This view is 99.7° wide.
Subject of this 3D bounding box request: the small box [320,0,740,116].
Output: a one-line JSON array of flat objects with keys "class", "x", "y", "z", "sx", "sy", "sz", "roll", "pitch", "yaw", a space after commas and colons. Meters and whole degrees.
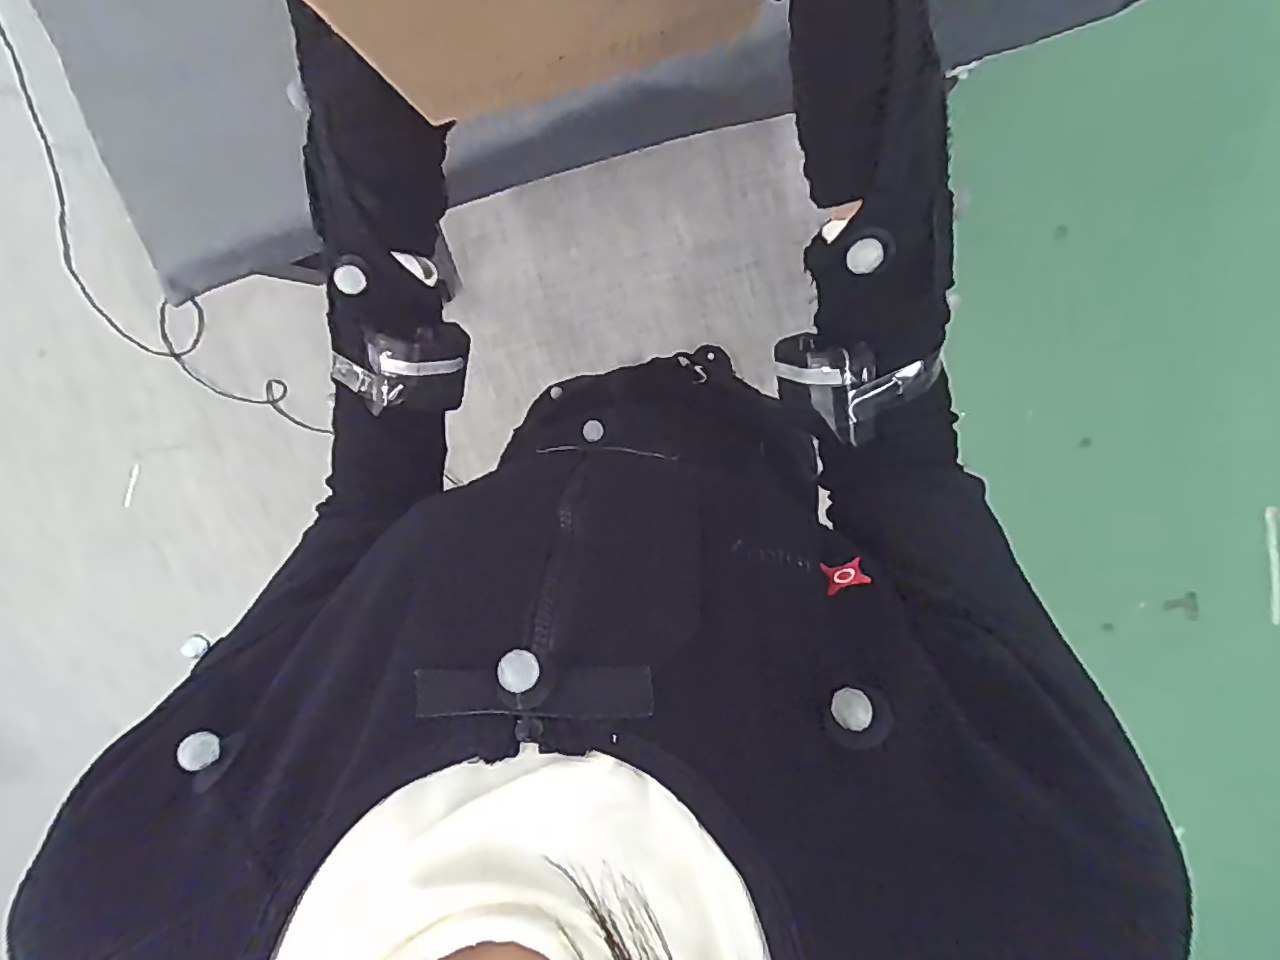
[{"class": "small box", "x": -0.045, "y": -0.266, "z": 0.187, "sx": 0.179, "sy": 0.176, "sz": 0.168, "roll": -13, "pitch": 103, "yaw": 5}]
